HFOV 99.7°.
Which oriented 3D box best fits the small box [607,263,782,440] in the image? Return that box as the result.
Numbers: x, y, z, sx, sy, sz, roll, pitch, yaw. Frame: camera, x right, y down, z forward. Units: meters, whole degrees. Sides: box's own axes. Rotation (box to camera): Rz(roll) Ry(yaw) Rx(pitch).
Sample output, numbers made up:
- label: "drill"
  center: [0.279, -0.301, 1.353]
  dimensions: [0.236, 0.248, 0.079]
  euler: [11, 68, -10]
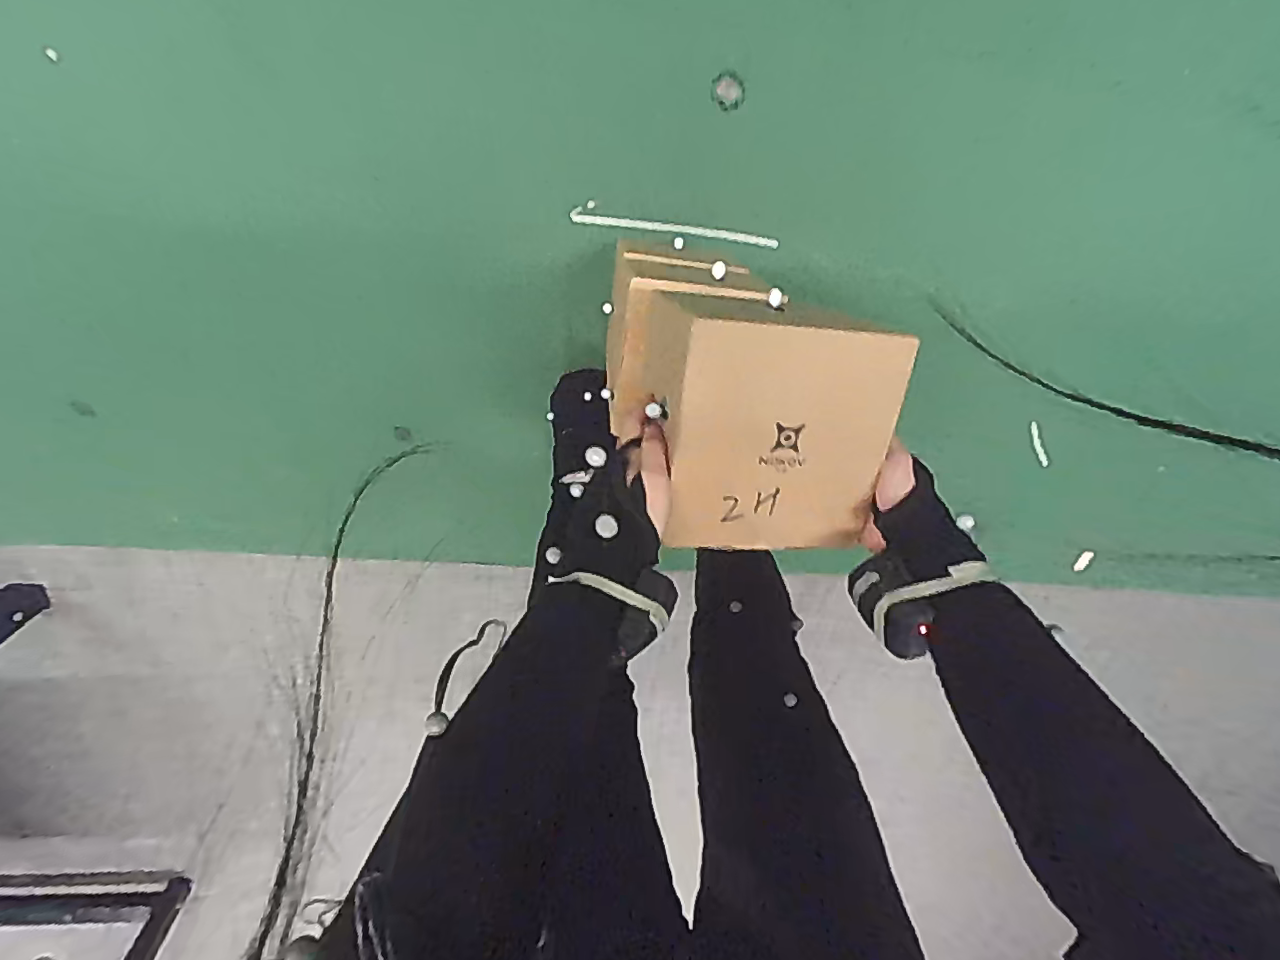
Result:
- label: "small box"
  center: [0.050, -0.156, 0.654]
  dimensions: [0.168, 0.176, 0.179]
  euler: [5, 118, -7]

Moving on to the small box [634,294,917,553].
- label: "small box"
  center: [0.091, -0.056, 0.462]
  dimensions: [0.168, 0.176, 0.179]
  euler: [3, 114, -10]
